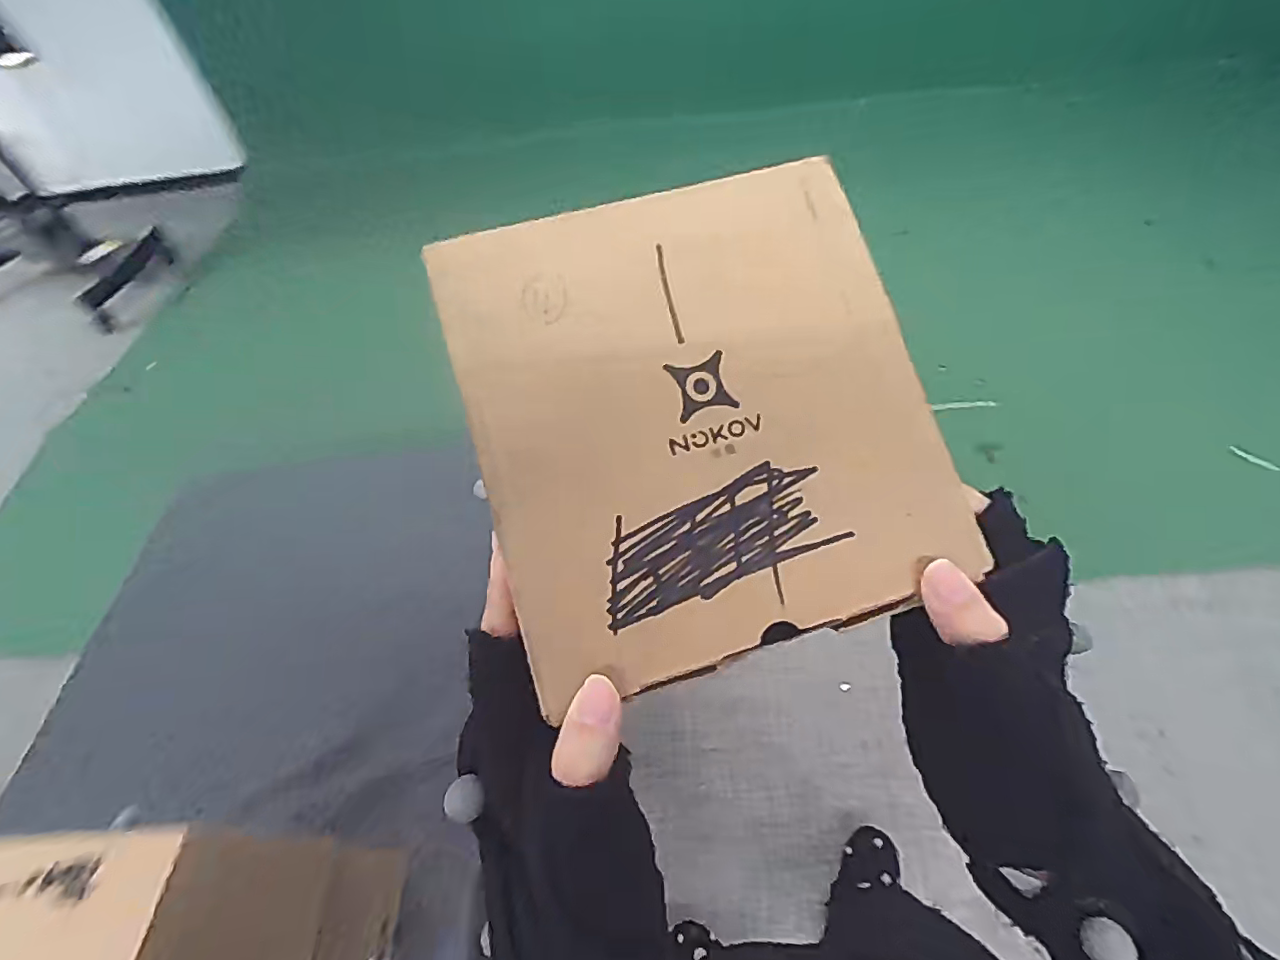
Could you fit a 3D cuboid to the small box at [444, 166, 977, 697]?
[{"bbox_3d":[0.020,-0.014,0.283,0.168,0.176,0.179,-16,81,-6],"label":"small box"}]
